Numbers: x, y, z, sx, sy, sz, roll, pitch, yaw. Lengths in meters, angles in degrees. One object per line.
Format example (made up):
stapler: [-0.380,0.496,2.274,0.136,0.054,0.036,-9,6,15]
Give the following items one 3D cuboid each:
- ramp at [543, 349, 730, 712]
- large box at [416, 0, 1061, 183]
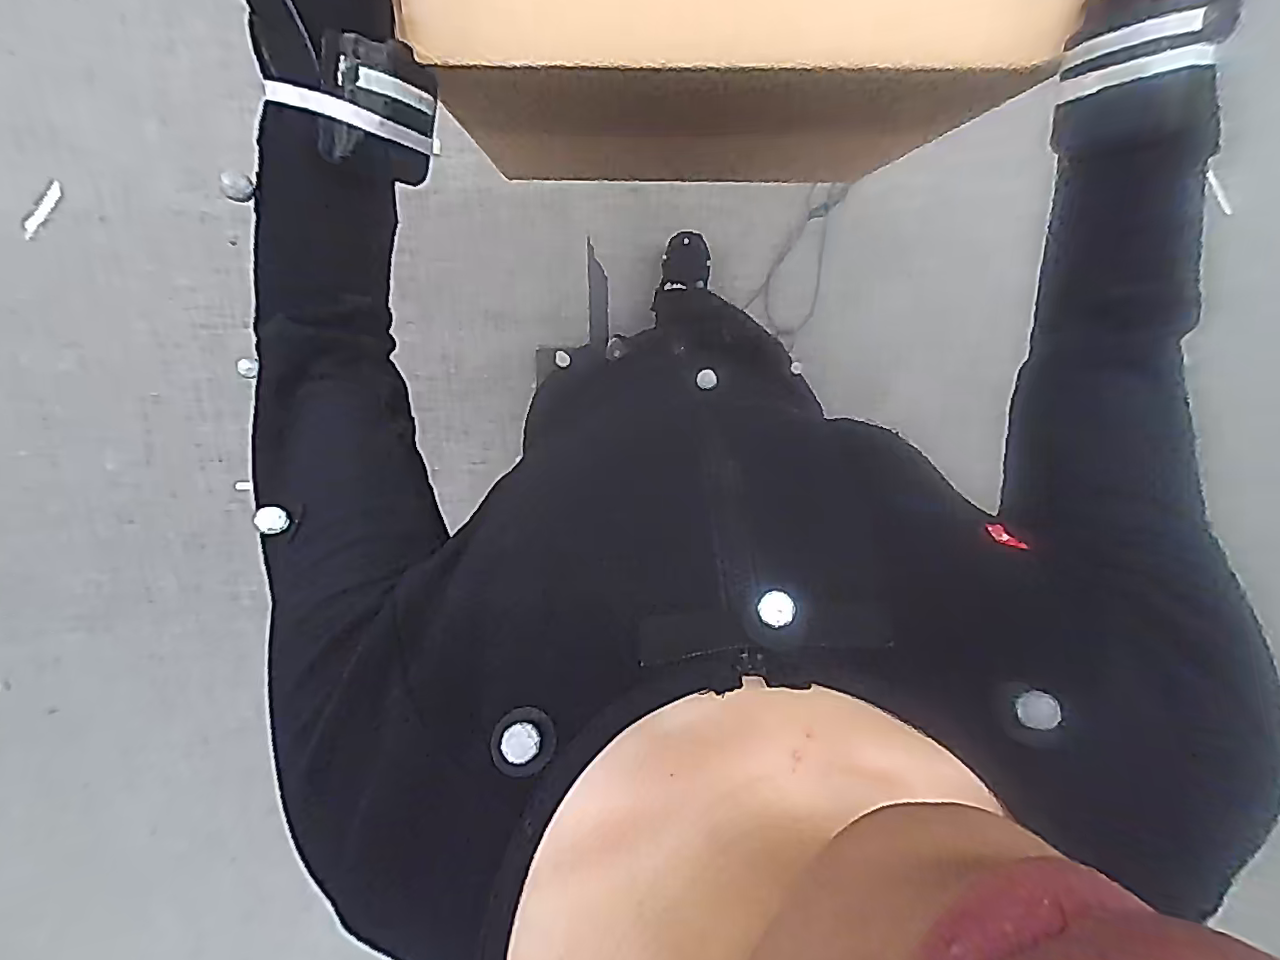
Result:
ramp: [-0.003,0.152,1.490,0.509,0.206,0.991,-3,106,0]
large box: [0.052,-0.449,0.435,0.408,0.320,0.320,-2,108,-2]
